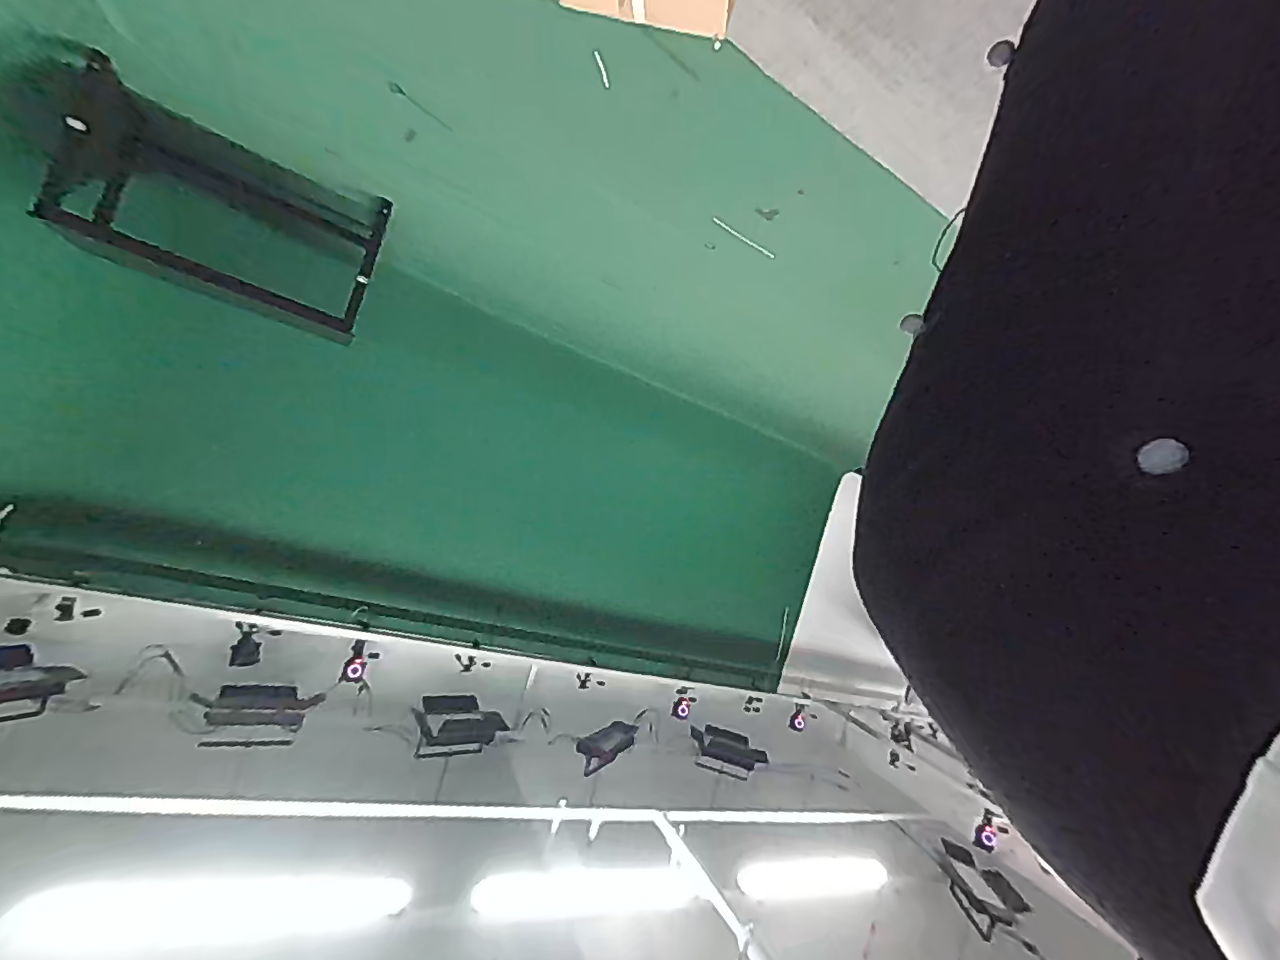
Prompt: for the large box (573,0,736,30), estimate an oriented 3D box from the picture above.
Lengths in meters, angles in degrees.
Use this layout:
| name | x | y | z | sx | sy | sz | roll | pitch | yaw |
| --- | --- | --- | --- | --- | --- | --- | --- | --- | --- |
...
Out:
| name | x | y | z | sx | sy | sz | roll | pitch | yaw |
| --- | --- | --- | --- | --- | --- | --- | --- | --- | --- |
| large box | 0.032 | -0.980 | 0.765 | 0.320 | 0.320 | 0.408 | 17 | 178 | 5 |
